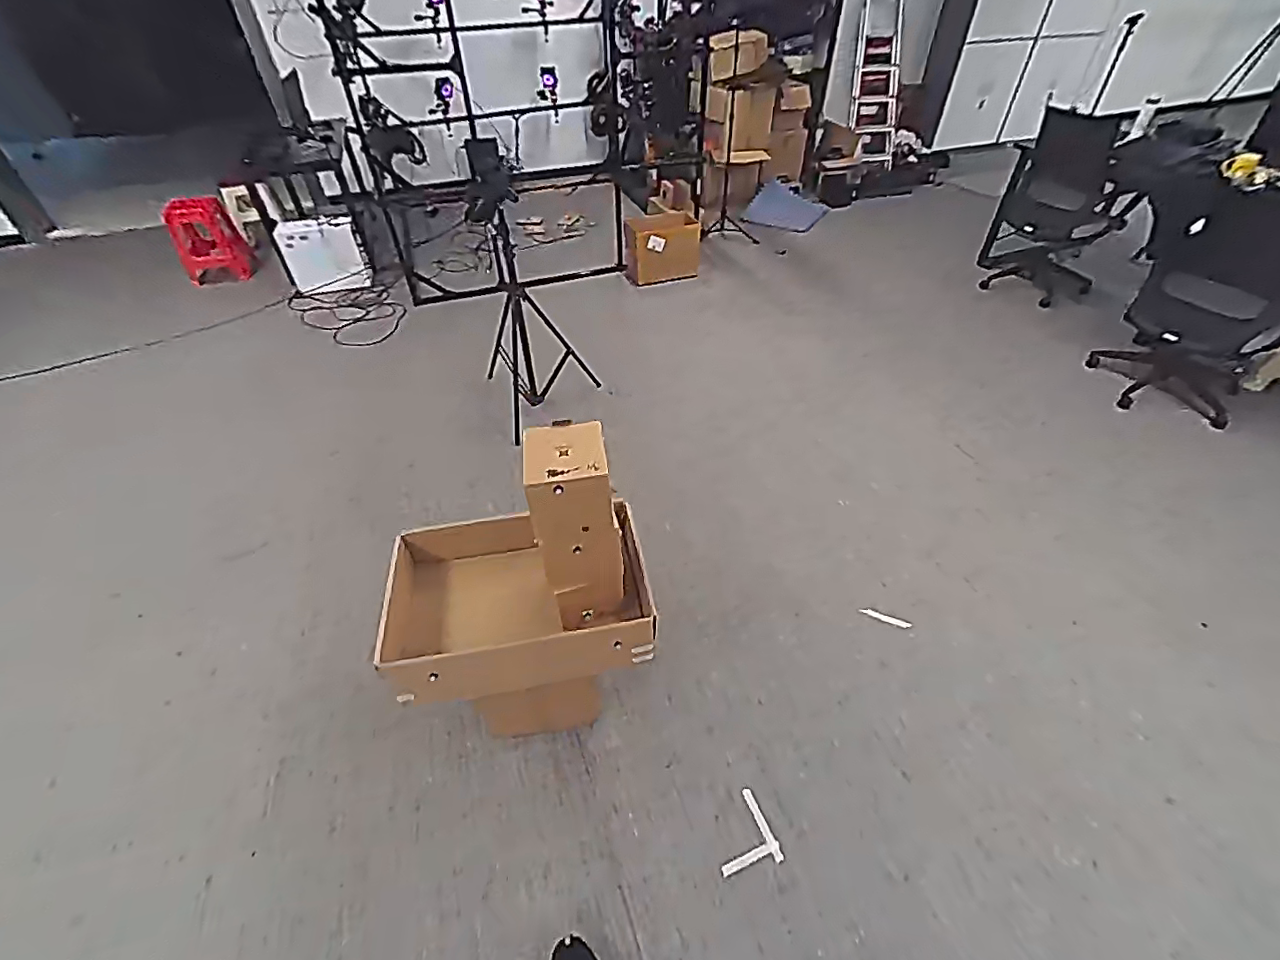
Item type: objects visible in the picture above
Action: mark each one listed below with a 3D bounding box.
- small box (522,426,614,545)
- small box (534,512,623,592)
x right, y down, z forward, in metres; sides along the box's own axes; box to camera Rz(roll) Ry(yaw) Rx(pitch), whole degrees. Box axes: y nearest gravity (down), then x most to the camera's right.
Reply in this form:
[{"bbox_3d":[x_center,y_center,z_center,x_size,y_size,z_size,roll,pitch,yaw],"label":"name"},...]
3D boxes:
[{"bbox_3d":[-0.149,0.011,1.133,0.168,0.176,0.179,-8,42,-4],"label":"small box"},{"bbox_3d":[-0.144,0.134,1.242,0.179,0.176,0.168,-12,44,-9],"label":"small box"}]
